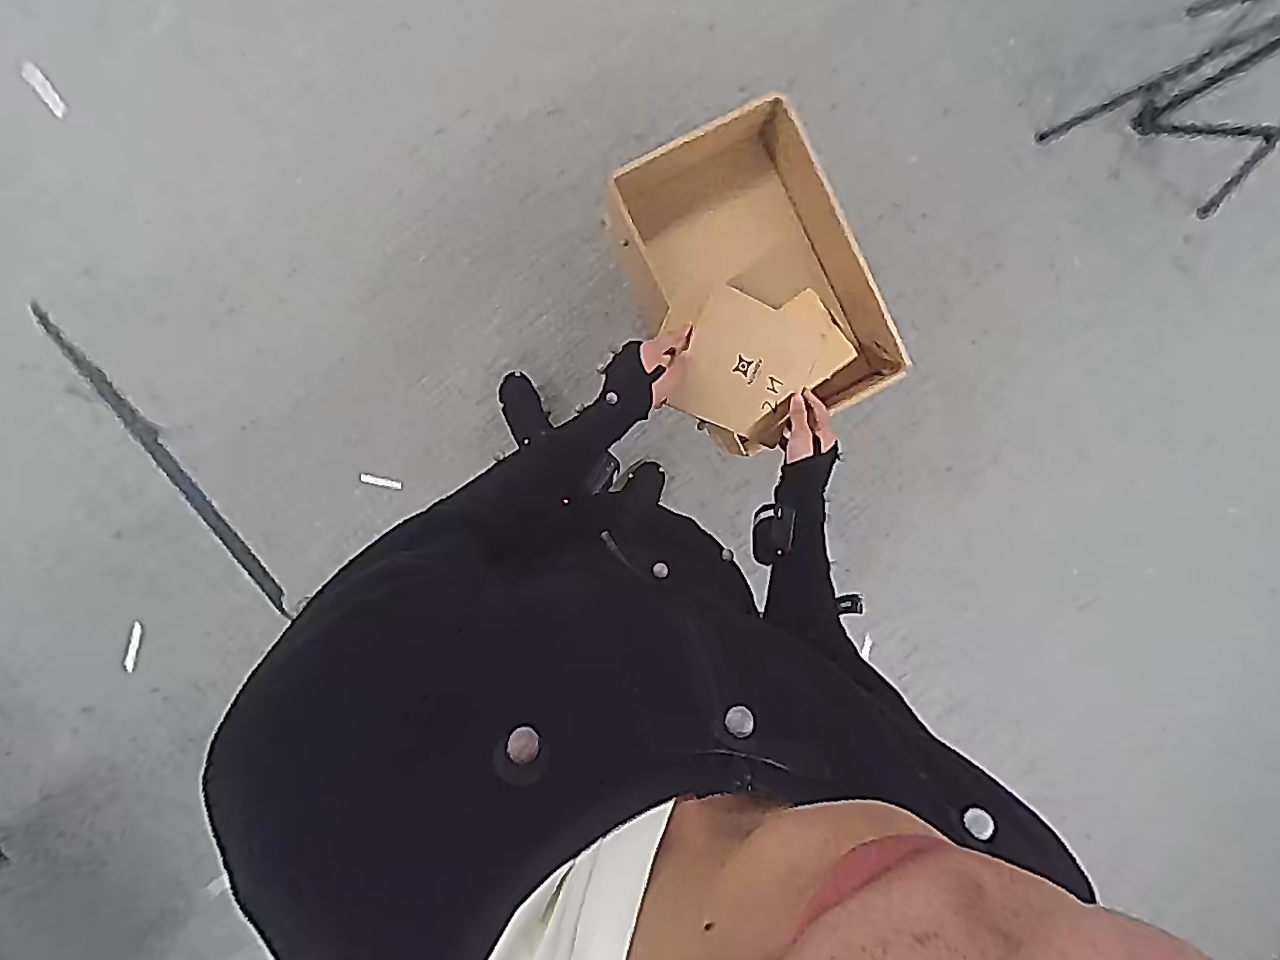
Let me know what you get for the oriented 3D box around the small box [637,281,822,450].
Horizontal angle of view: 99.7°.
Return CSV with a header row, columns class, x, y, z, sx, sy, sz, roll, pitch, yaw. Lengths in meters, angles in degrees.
class,x,y,z,sx,sy,sz,roll,pitch,yaw
small box,0.112,-0.160,0.766,0.179,0.176,0.168,20,100,-18
